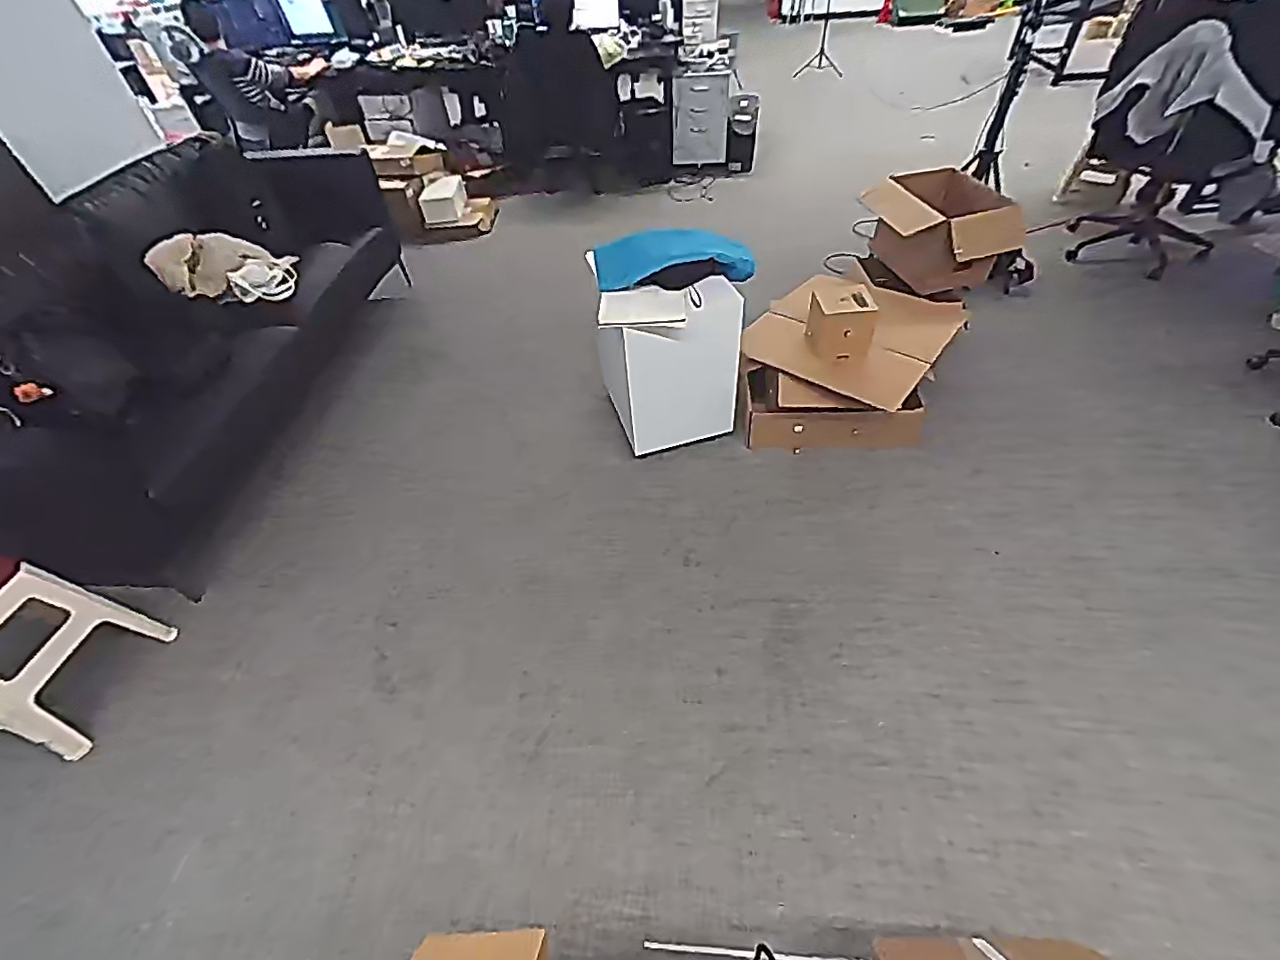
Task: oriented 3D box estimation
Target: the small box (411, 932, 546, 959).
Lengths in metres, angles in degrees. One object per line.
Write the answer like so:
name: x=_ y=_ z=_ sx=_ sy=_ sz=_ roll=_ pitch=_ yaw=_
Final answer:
small box: x=-0.208 y=0.681 z=0.634 sx=0.168 sy=0.179 sz=0.176 roll=-5 pitch=81 yaw=2
